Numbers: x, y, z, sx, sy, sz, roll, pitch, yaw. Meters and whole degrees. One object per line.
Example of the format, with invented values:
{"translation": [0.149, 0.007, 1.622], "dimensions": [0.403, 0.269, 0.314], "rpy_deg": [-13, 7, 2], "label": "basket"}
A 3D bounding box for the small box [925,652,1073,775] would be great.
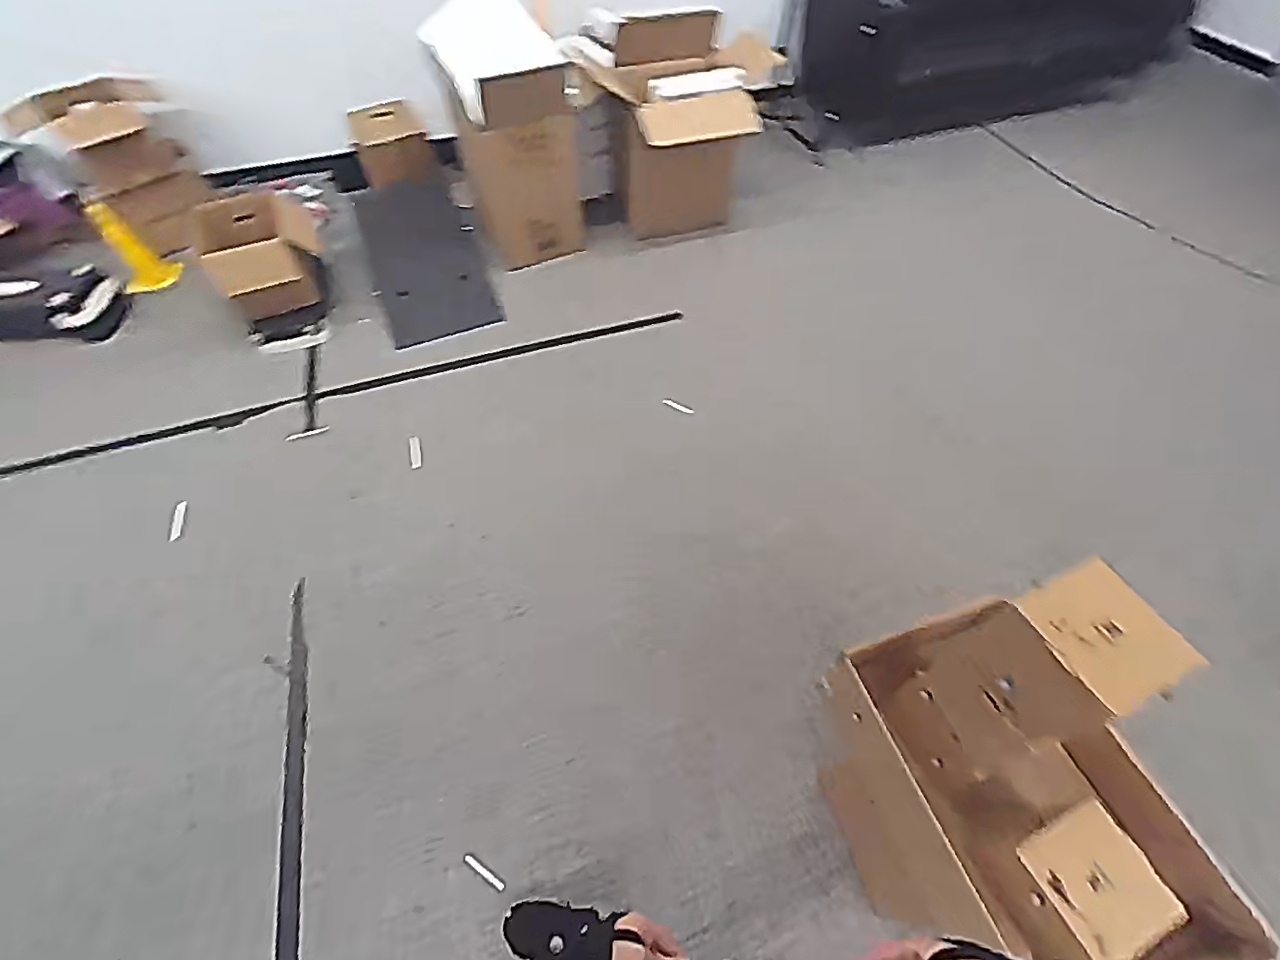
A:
{"translation": [0.606, 0.363, 0.892], "dimensions": [0.179, 0.176, 0.168], "rpy_deg": [-17, 56, -14], "label": "small box"}

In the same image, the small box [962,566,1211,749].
{"translation": [0.610, 0.254, 0.767], "dimensions": [0.179, 0.176, 0.168], "rpy_deg": [-19, 56, -14], "label": "small box"}
